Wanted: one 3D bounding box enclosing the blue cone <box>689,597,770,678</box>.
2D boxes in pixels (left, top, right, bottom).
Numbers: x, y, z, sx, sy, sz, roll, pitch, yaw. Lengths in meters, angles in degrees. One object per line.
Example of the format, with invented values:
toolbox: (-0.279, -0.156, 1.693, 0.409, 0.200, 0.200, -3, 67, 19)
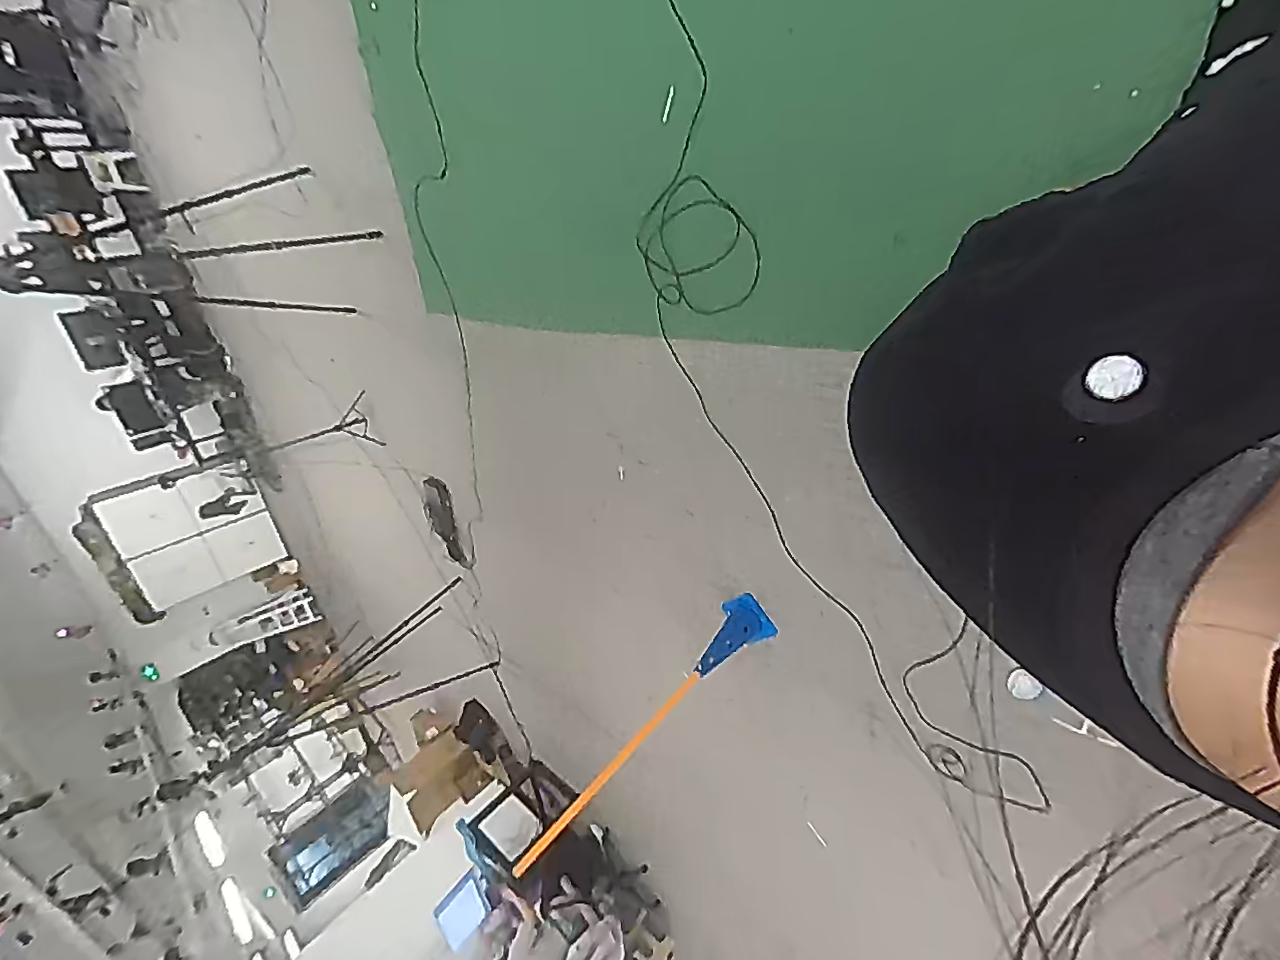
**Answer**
blue cone: (0.323, 0.646, 2.112, 0.192, 0.380, 0.193, 52, 141, 6)
